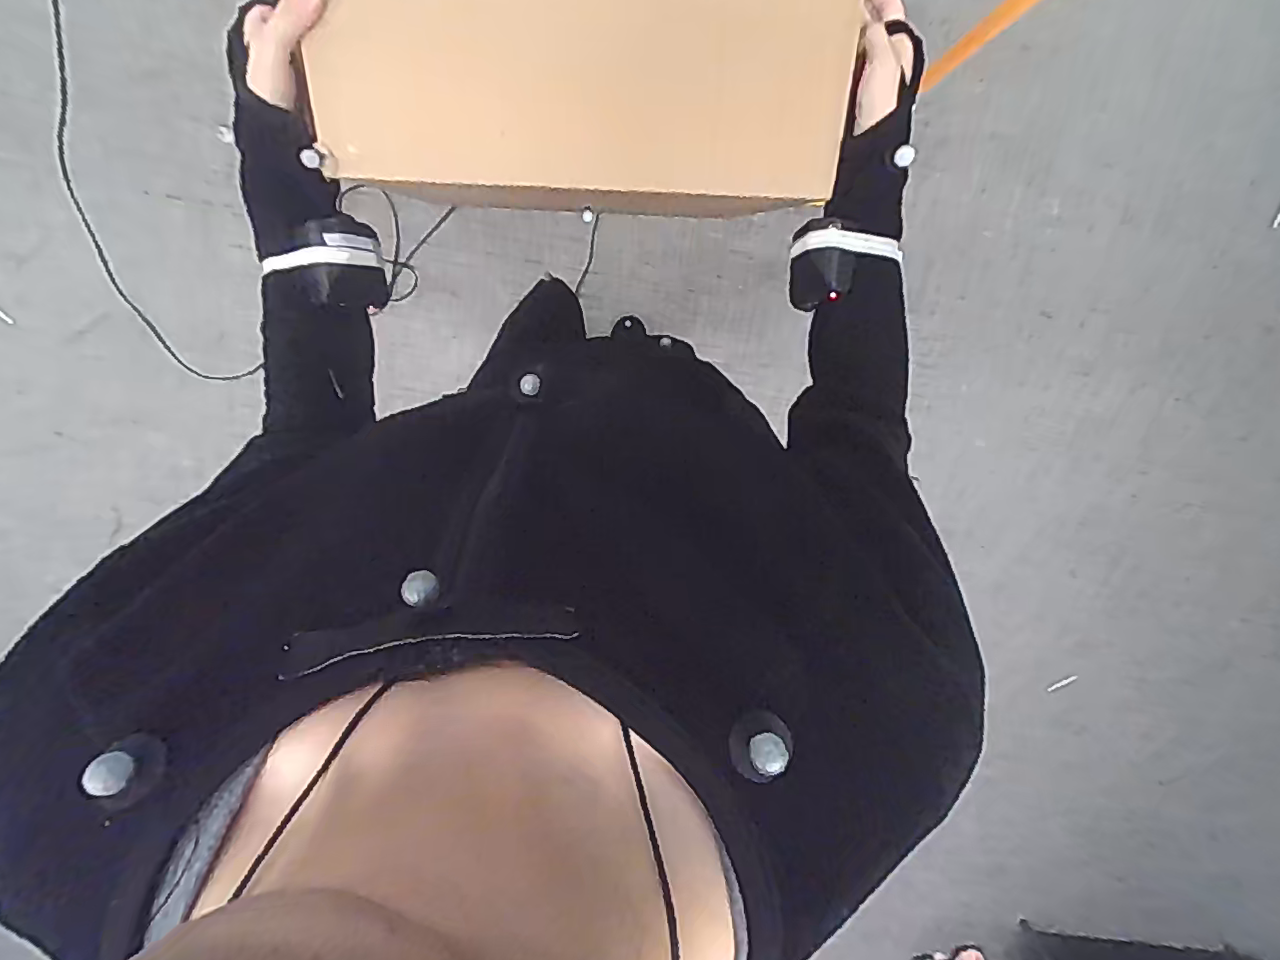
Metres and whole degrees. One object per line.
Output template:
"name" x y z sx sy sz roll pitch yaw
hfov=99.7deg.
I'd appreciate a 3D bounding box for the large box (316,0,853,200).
"large box" -0.045 -0.450 0.519 0.408 0.320 0.320 -1 113 -5
